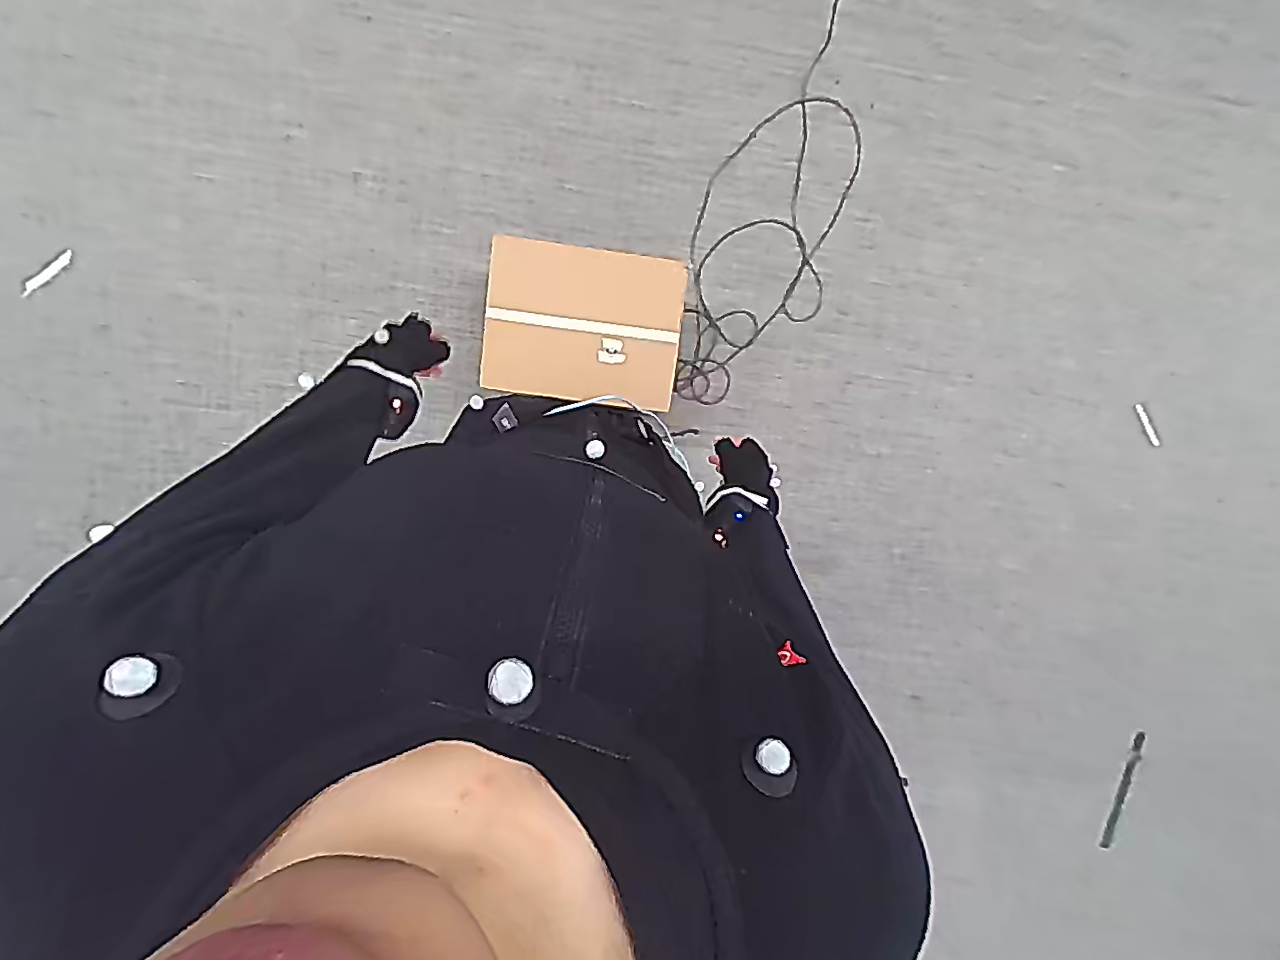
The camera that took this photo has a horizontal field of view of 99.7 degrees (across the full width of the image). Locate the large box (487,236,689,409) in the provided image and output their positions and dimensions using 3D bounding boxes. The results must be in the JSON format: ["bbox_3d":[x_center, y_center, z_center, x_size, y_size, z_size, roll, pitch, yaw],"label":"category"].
[{"bbox_3d":[-0.120,-0.345,1.281,0.408,0.320,0.320,7,97,-4],"label":"large box"}]
